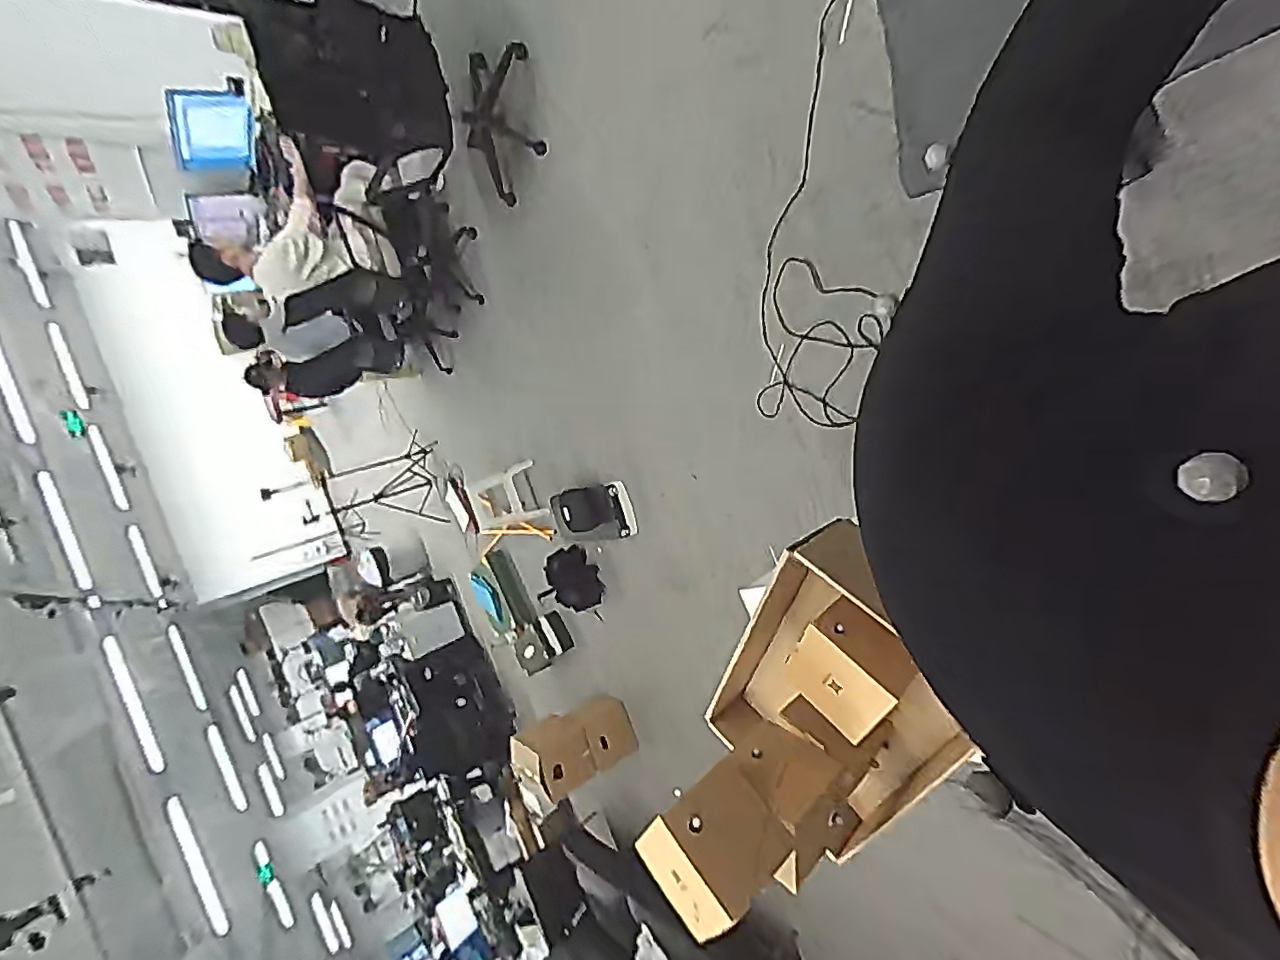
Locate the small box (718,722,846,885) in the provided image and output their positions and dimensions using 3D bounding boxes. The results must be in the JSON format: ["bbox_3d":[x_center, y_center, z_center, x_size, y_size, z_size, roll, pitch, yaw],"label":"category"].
[{"bbox_3d":[0.268,0.595,1.027,0.179,0.176,0.168,14,118,45],"label":"small box"}]

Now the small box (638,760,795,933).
[{"bbox_3d":[0.129,0.621,0.937,0.179,0.176,0.168,45,137,27],"label":"small box"}]
